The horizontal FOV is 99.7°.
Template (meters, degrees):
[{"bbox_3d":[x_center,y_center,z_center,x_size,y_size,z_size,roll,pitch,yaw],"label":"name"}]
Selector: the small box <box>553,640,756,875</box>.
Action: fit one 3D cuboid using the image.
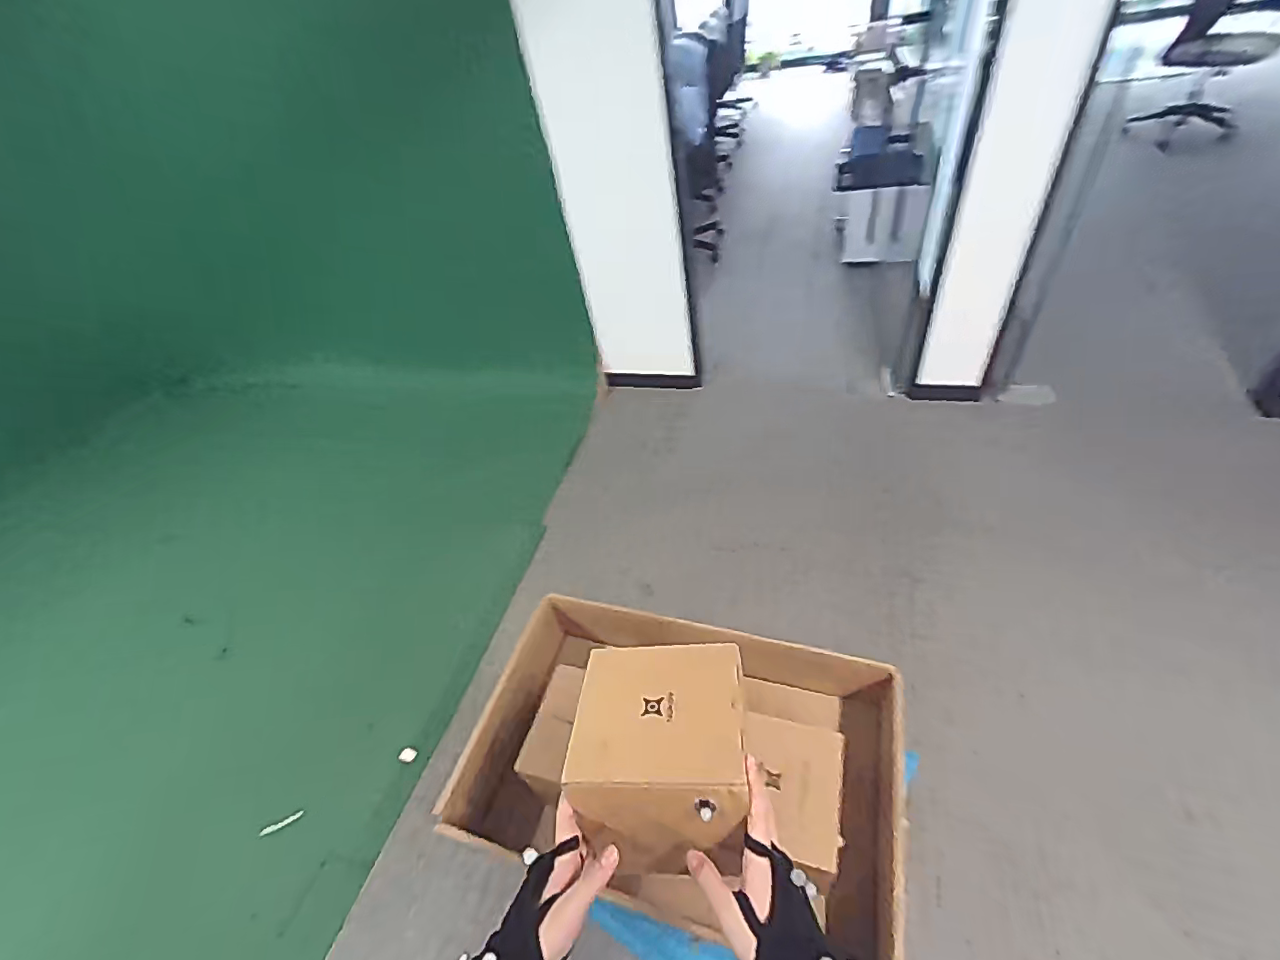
[{"bbox_3d":[0.026,0.298,0.589,0.179,0.176,0.168,-6,30,10],"label":"small box"}]
